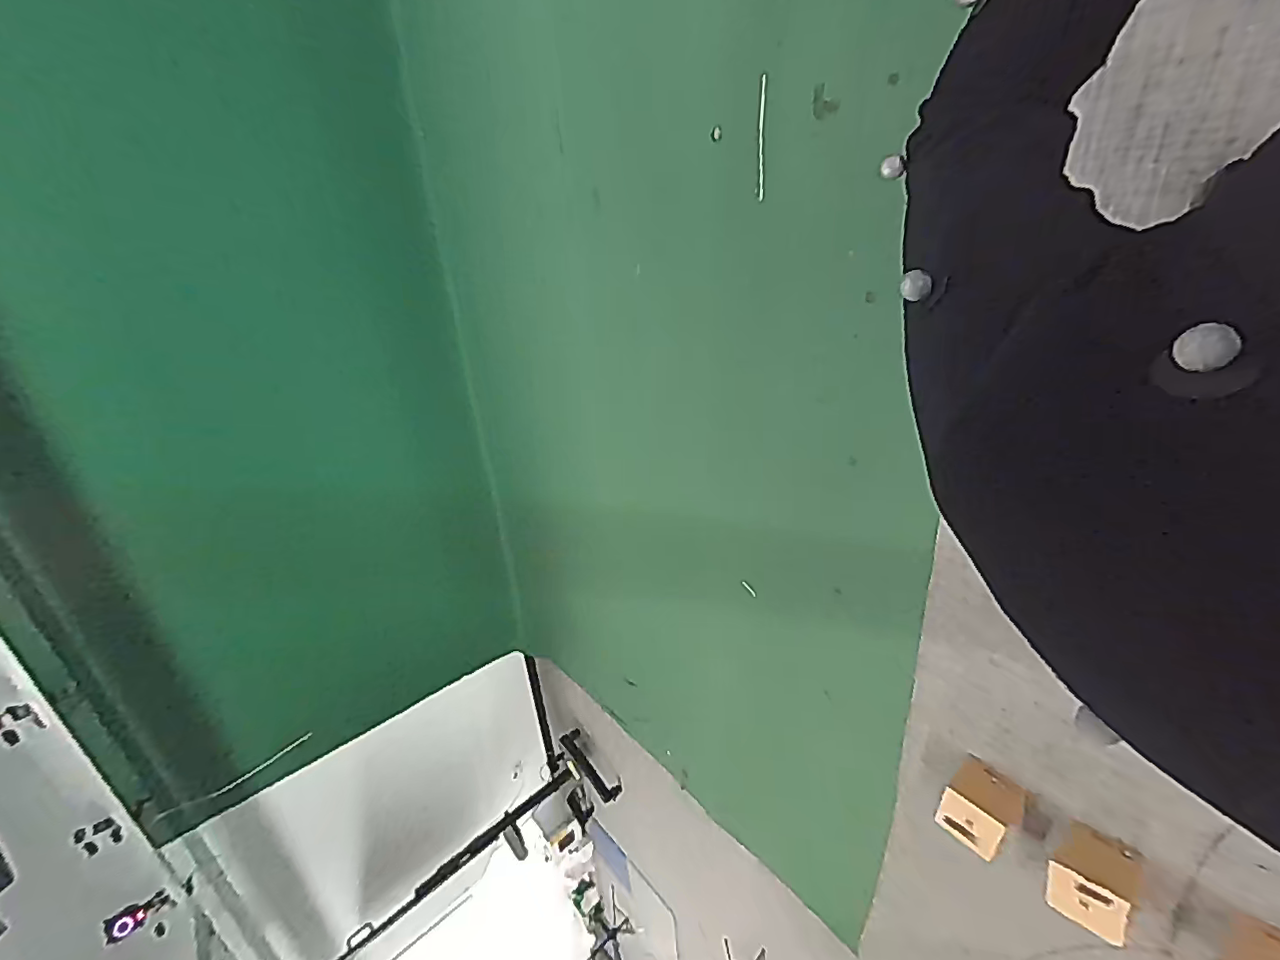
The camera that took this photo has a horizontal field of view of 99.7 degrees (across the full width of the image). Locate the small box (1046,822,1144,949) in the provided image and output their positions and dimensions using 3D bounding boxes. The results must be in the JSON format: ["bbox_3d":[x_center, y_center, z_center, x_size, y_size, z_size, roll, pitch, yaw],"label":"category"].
[{"bbox_3d":[1.227,1.079,1.457,0.168,0.176,0.179,13,119,50],"label":"small box"}]

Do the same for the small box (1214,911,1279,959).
[{"bbox_3d":[1.431,1.151,1.225,0.168,0.176,0.179,17,121,47],"label":"small box"}]
